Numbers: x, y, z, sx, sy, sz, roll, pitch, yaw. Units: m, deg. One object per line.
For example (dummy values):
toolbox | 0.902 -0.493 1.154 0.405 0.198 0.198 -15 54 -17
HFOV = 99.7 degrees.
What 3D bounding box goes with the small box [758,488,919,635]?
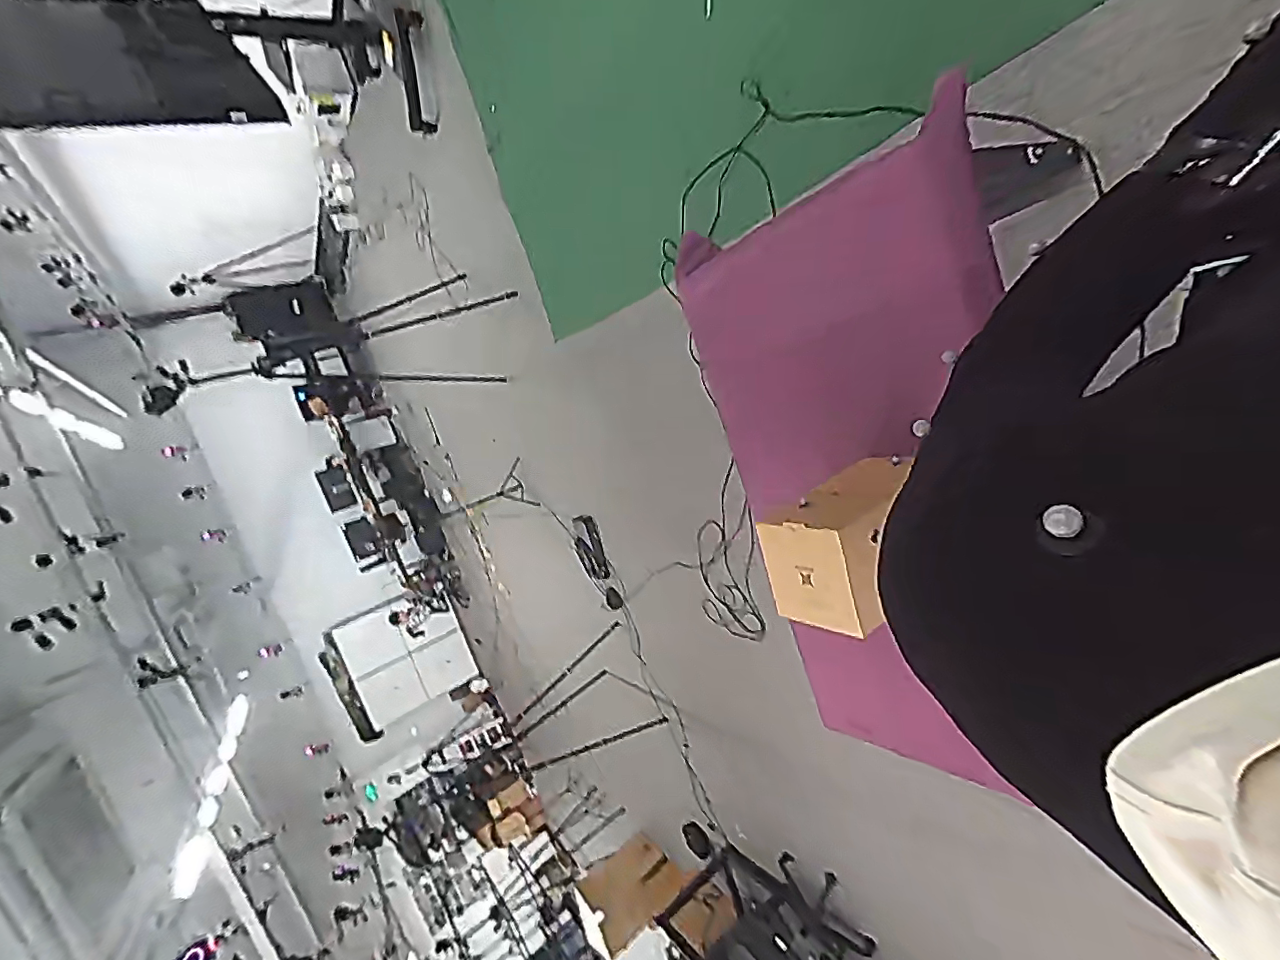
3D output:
small box | 0.325 0.119 0.882 0.168 0.176 0.179 1 110 57
